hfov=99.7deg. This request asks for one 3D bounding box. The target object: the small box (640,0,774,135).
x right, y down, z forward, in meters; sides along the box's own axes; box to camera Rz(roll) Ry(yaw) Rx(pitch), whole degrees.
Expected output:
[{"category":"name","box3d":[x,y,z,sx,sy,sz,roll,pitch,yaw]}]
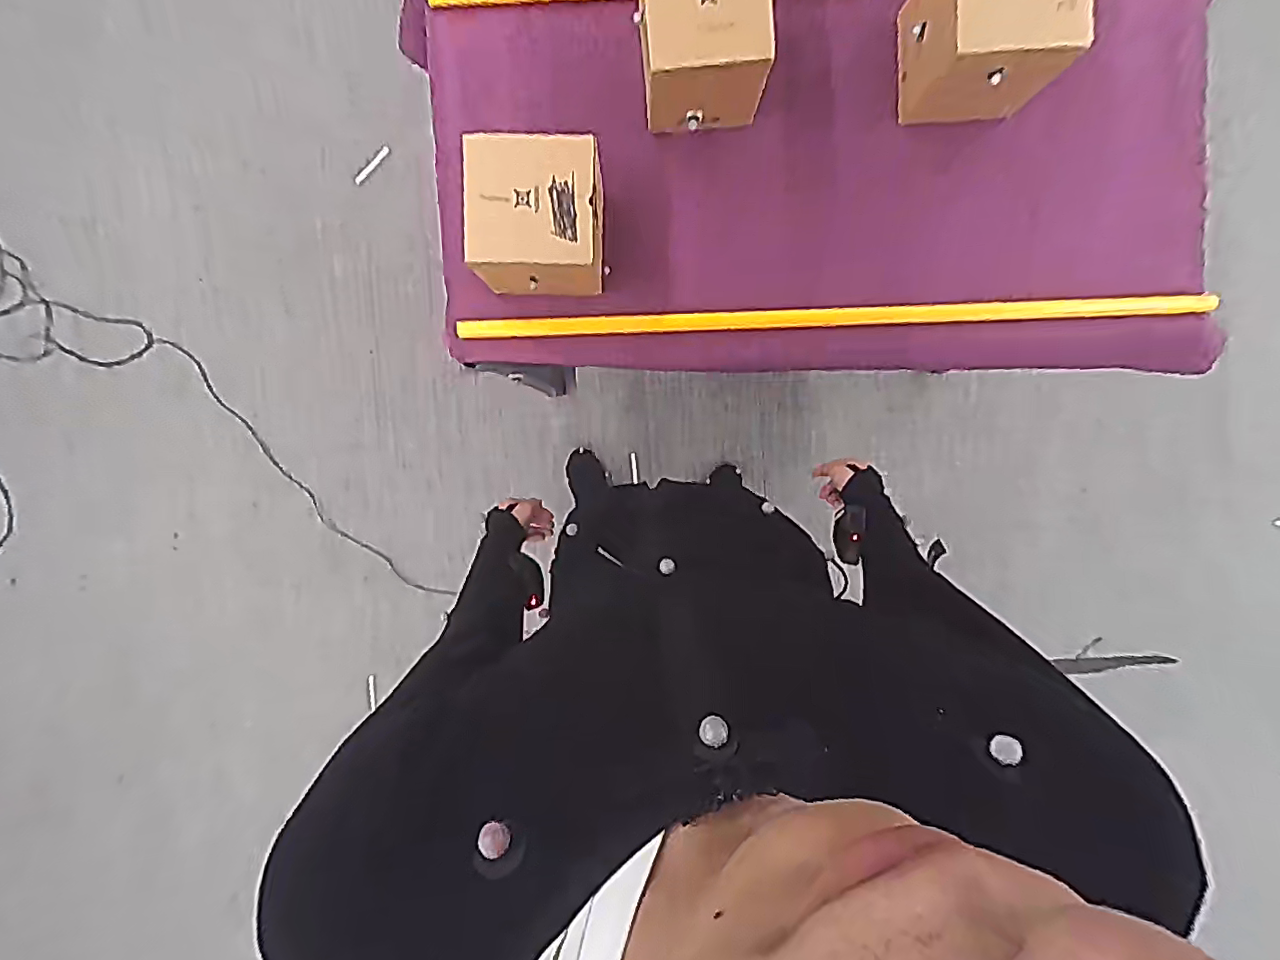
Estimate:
[{"category":"small box","box3d":[0.087,-0.634,0.773,0.168,0.176,0.179,-5,95,2]}]

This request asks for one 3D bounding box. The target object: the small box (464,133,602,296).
[{"category":"small box","box3d":[-0.146,-0.375,0.792,0.179,0.176,0.168,1,95,0]}]

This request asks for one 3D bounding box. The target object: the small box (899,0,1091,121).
[{"category":"small box","box3d":[0.488,-0.642,0.768,0.179,0.176,0.168,-3,96,1]}]
